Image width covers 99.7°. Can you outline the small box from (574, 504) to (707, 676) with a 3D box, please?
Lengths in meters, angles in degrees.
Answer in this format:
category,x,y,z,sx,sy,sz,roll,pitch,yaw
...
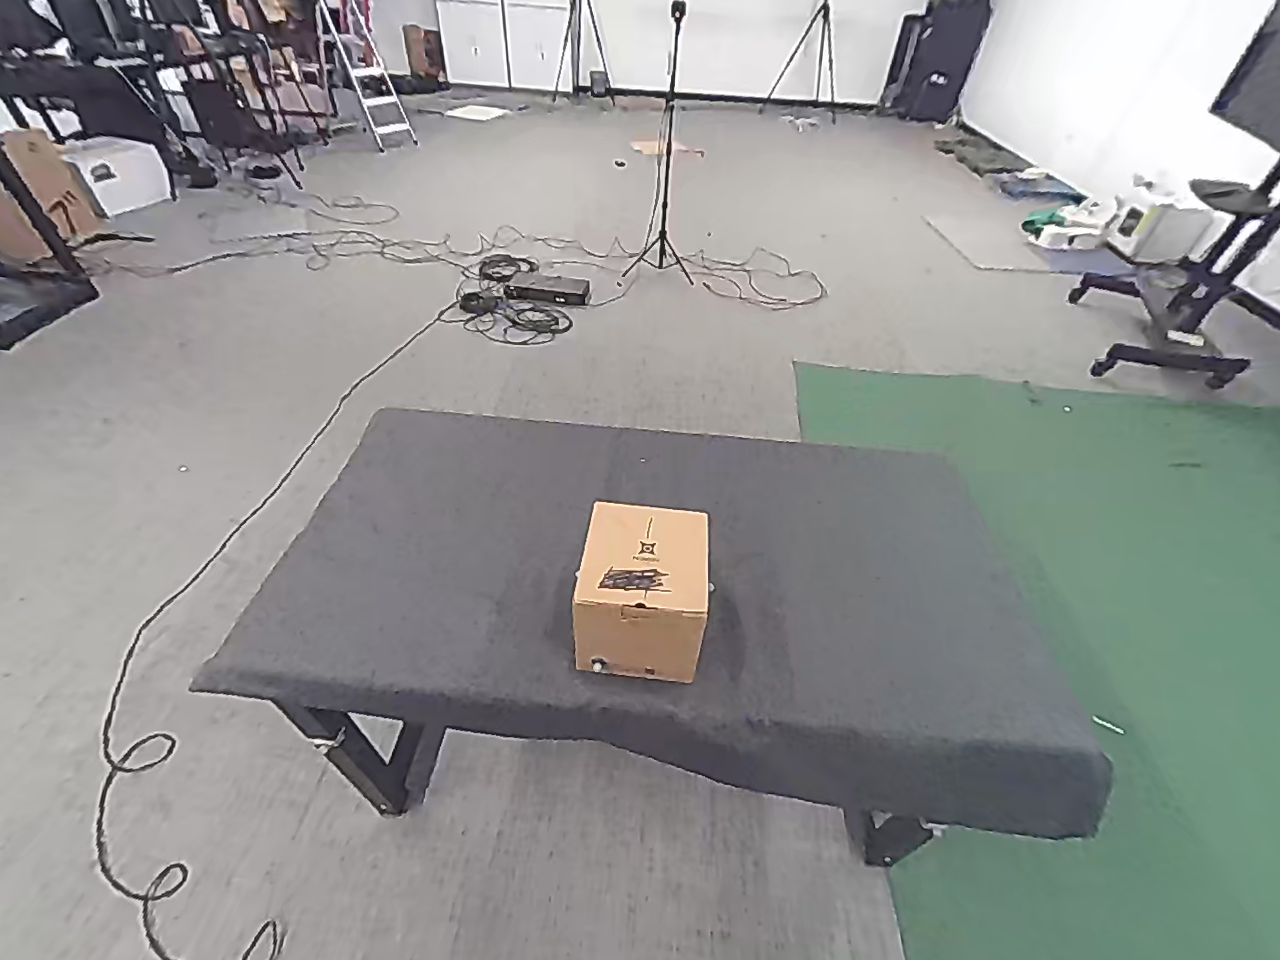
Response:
category,x,y,z,sx,sy,sz,roll,pitch,yaw
small box,0.005,0.161,0.785,0.168,0.176,0.179,6,41,2
